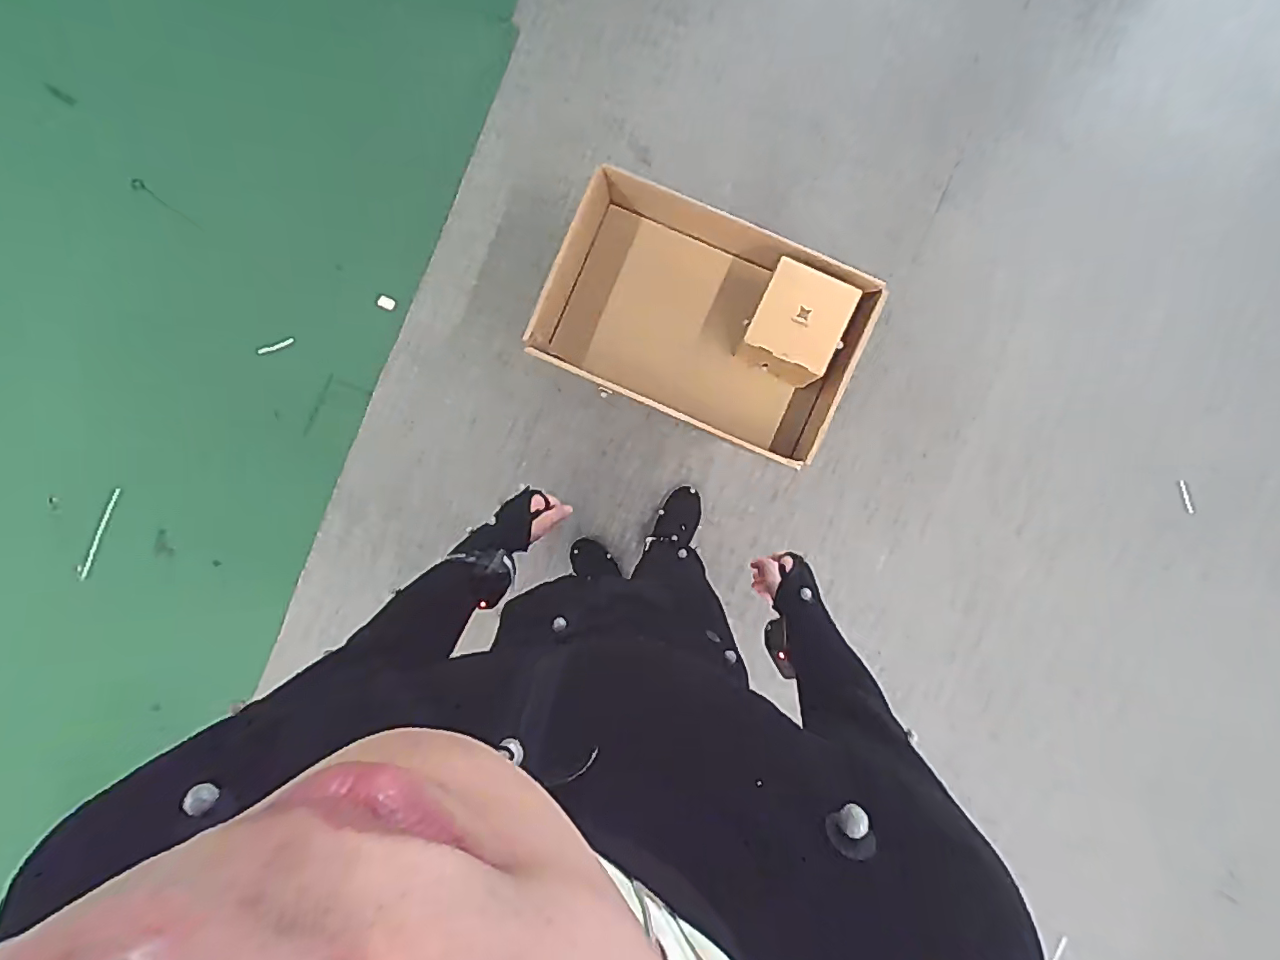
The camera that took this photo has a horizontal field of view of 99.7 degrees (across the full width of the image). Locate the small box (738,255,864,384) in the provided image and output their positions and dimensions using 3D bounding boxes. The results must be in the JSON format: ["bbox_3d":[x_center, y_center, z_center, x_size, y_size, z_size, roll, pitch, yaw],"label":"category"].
[{"bbox_3d":[0.311,-0.312,1.088,0.168,0.176,0.179,25,93,1],"label":"small box"}]
